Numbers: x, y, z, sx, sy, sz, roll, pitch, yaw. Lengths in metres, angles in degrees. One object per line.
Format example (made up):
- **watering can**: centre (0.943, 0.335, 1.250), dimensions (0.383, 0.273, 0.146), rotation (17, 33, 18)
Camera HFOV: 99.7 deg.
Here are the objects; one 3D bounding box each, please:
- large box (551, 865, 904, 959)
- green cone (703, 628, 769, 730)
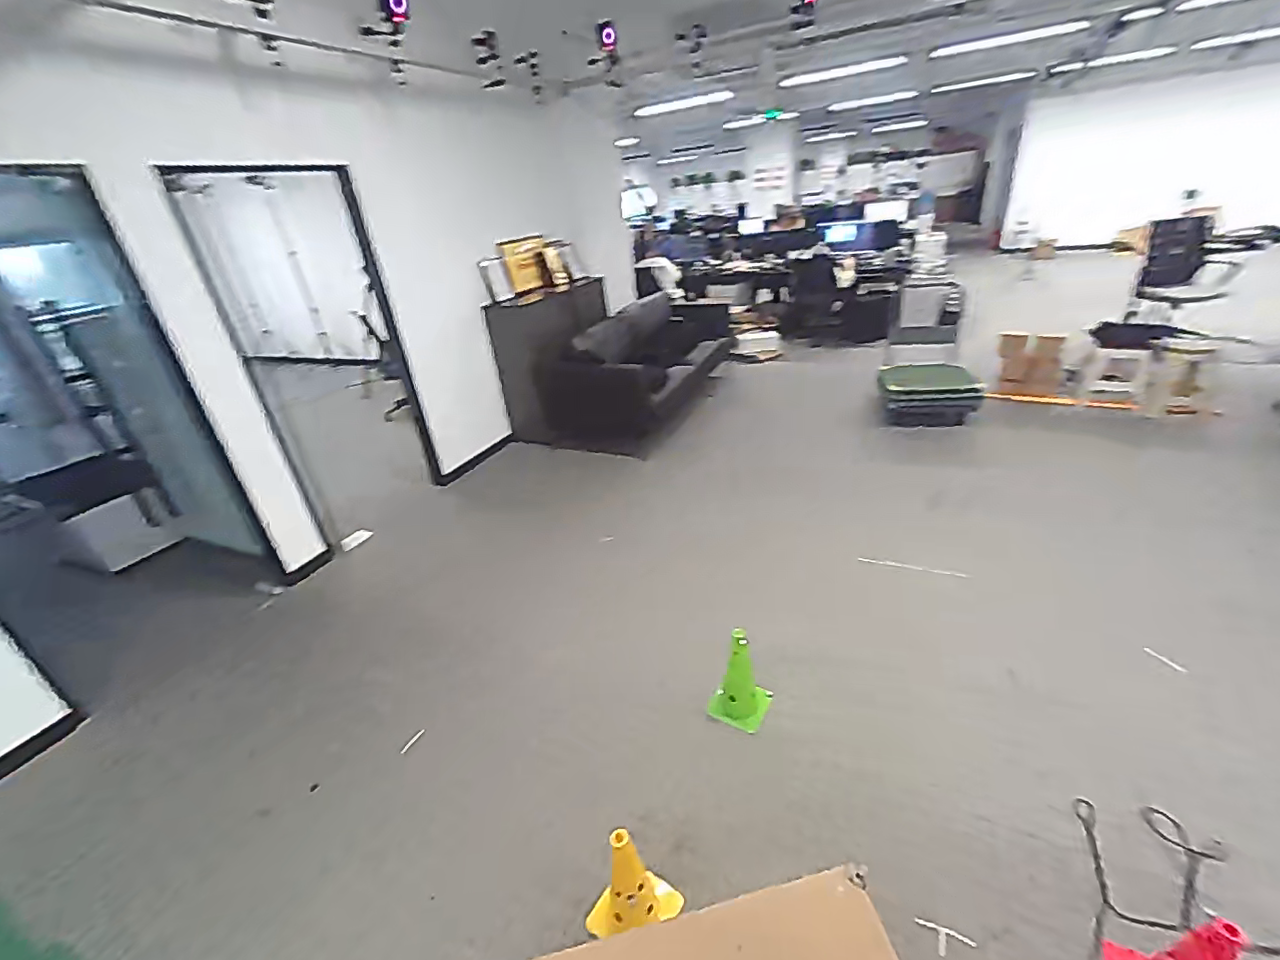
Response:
- **large box**: centre (0.082, 0.649, 0.505), dimensions (0.408, 0.320, 0.320), rotation (-11, 36, -7)
- **green cone**: centre (0.337, 0.672, 1.932), dimensions (0.200, 0.368, 0.202), rotation (10, 34, 30)
